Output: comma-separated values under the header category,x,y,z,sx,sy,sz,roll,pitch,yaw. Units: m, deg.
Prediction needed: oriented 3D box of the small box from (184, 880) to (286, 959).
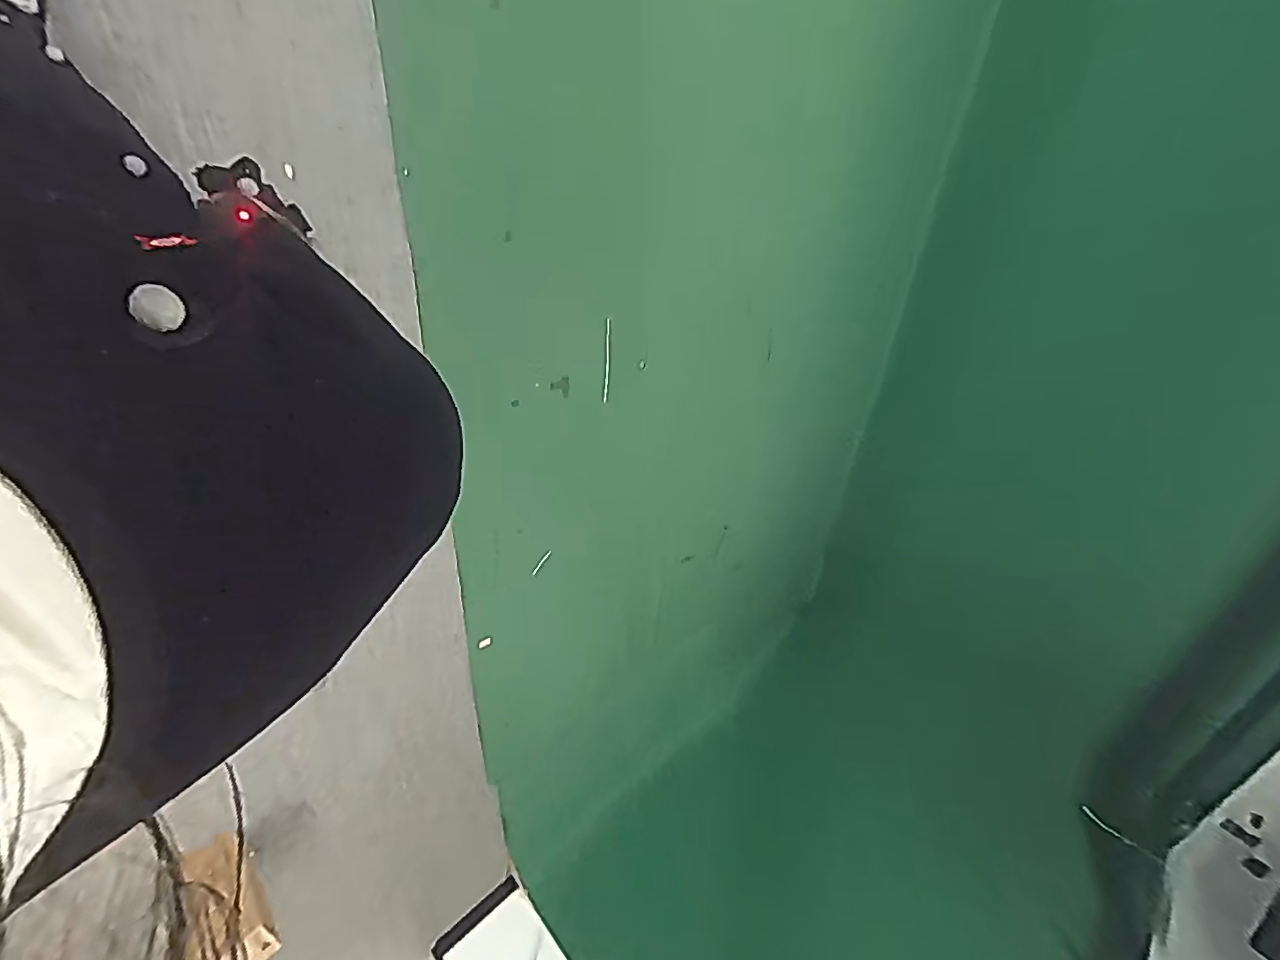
category,x,y,z,sx,sy,sz,roll,pitch,yaw
small box,-1.132,1.281,1.506,0.179,0.176,0.168,-27,132,-36

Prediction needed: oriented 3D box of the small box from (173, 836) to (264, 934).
category,x,y,z,sx,sy,sz,roll,pitch,yaw
small box,-1.248,1.221,1.605,0.179,0.176,0.168,-26,132,-38
